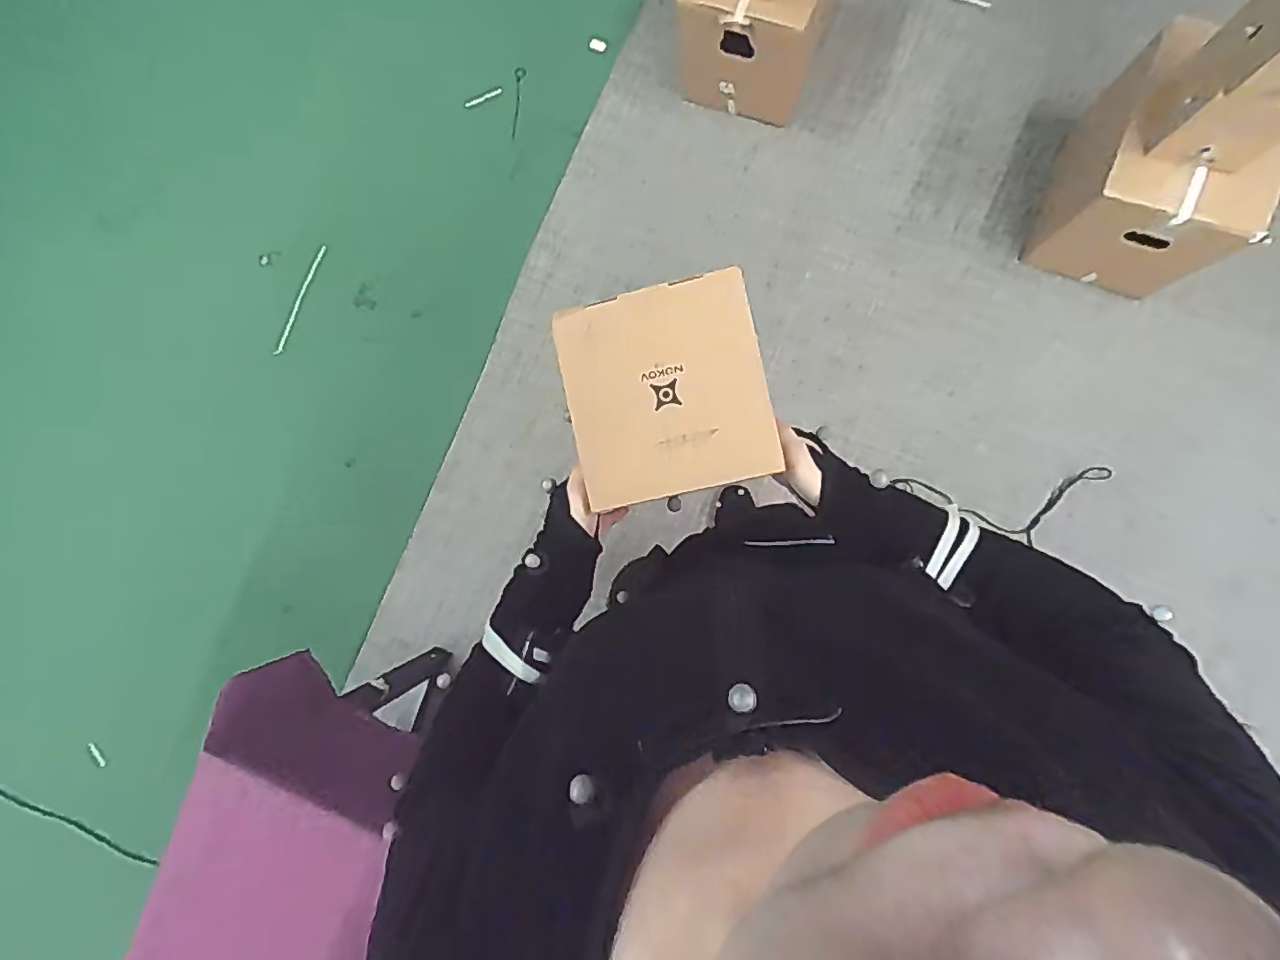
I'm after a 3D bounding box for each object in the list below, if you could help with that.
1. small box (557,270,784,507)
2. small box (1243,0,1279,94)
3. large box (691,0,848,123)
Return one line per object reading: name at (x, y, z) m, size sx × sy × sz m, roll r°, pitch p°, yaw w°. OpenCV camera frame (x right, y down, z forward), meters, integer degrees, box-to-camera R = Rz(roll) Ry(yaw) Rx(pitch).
small box at (0.031, -0.074, 0.534) m, size 0.168 × 0.176 × 0.179 m, roll -13°, pitch 88°, yaw 6°
small box at (1.124, -0.737, 0.847) m, size 0.168 × 0.176 × 0.179 m, roll 14°, pitch 89°, yaw 10°
large box at (0.353, -1.244, 1.402) m, size 0.320 × 0.320 × 0.408 m, roll 22°, pitch 89°, yaw 10°
